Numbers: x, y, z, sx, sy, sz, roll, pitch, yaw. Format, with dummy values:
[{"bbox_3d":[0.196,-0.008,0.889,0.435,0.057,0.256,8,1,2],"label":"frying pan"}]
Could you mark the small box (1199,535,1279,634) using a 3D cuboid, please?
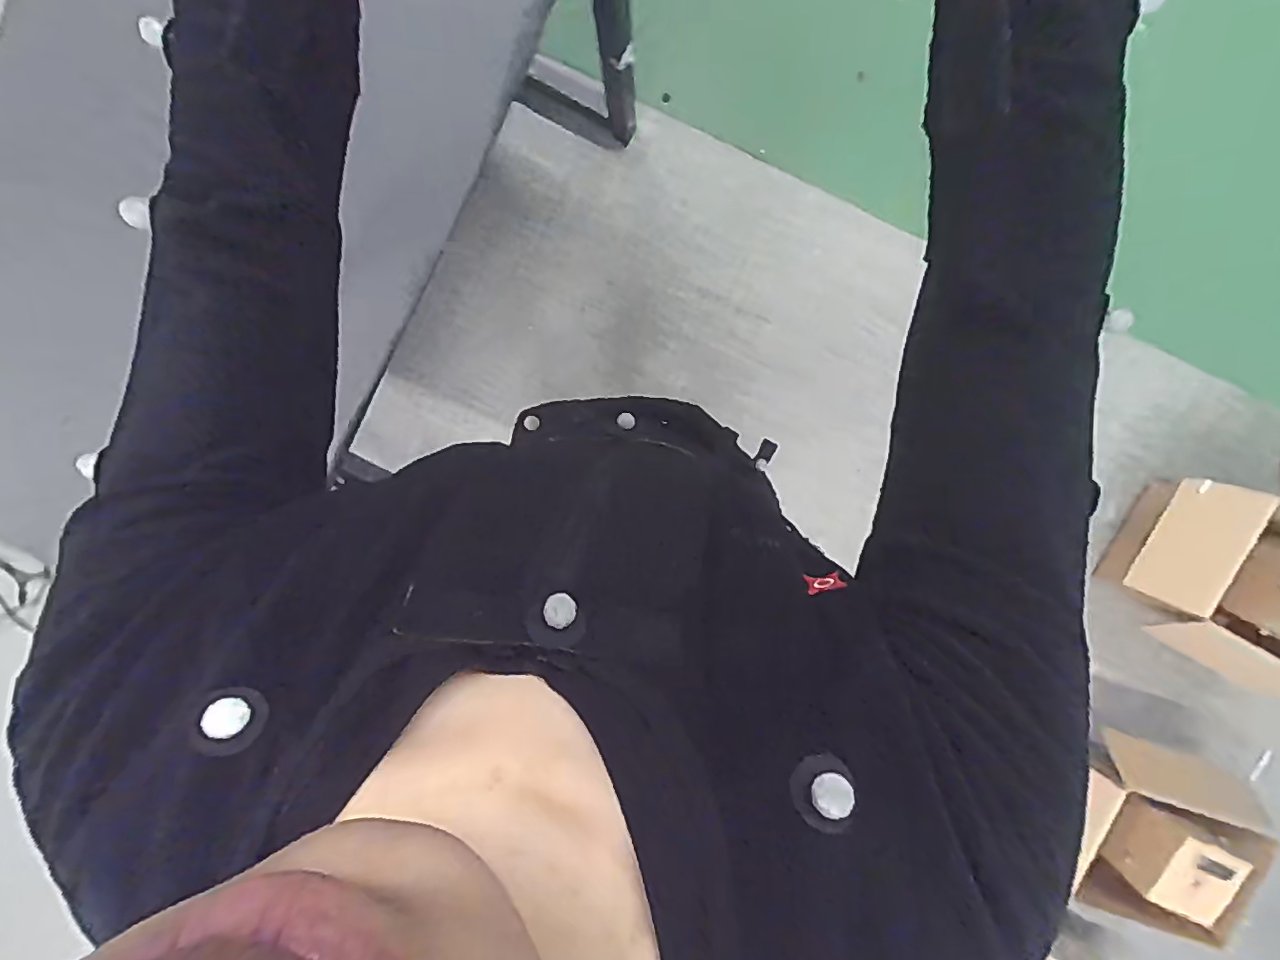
[{"bbox_3d":[1.457,0.249,1.235,0.168,0.176,0.179,28,96,-4],"label":"small box"}]
